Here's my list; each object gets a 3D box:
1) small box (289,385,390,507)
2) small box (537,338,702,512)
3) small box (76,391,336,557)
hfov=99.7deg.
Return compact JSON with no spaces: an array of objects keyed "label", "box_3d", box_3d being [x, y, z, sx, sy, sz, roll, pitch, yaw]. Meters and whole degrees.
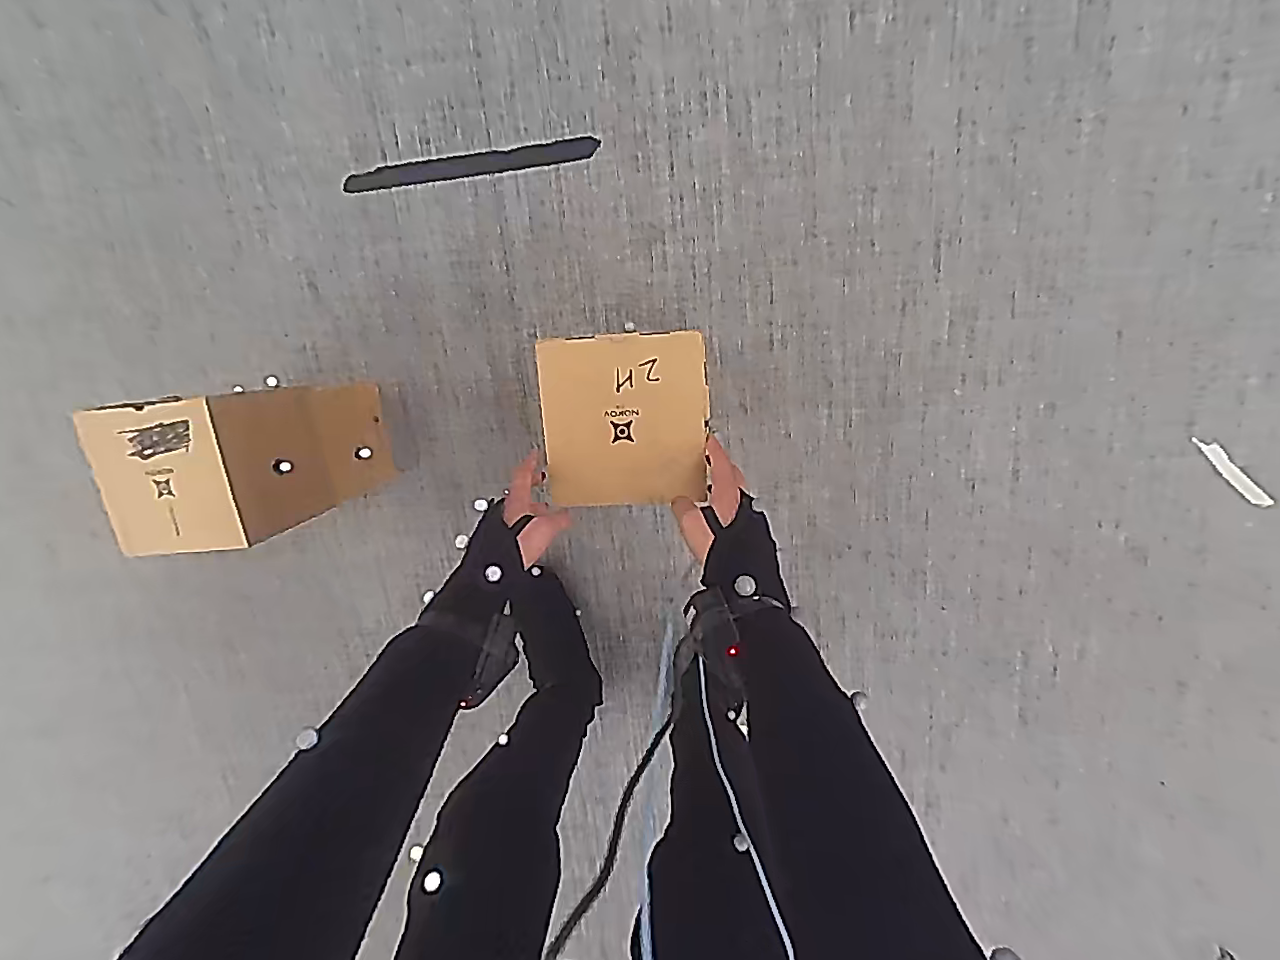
[{"label":"small box","box_3d":[-0.515,-0.054,0.842,0.179,0.176,0.168,-4,104,7]},{"label":"small box","box_3d":[-0.011,-0.071,0.626,0.168,0.176,0.179,-2,104,5]},{"label":"small box","box_3d":[-0.524,-0.018,0.682,0.168,0.176,0.179,-4,104,7]}]
